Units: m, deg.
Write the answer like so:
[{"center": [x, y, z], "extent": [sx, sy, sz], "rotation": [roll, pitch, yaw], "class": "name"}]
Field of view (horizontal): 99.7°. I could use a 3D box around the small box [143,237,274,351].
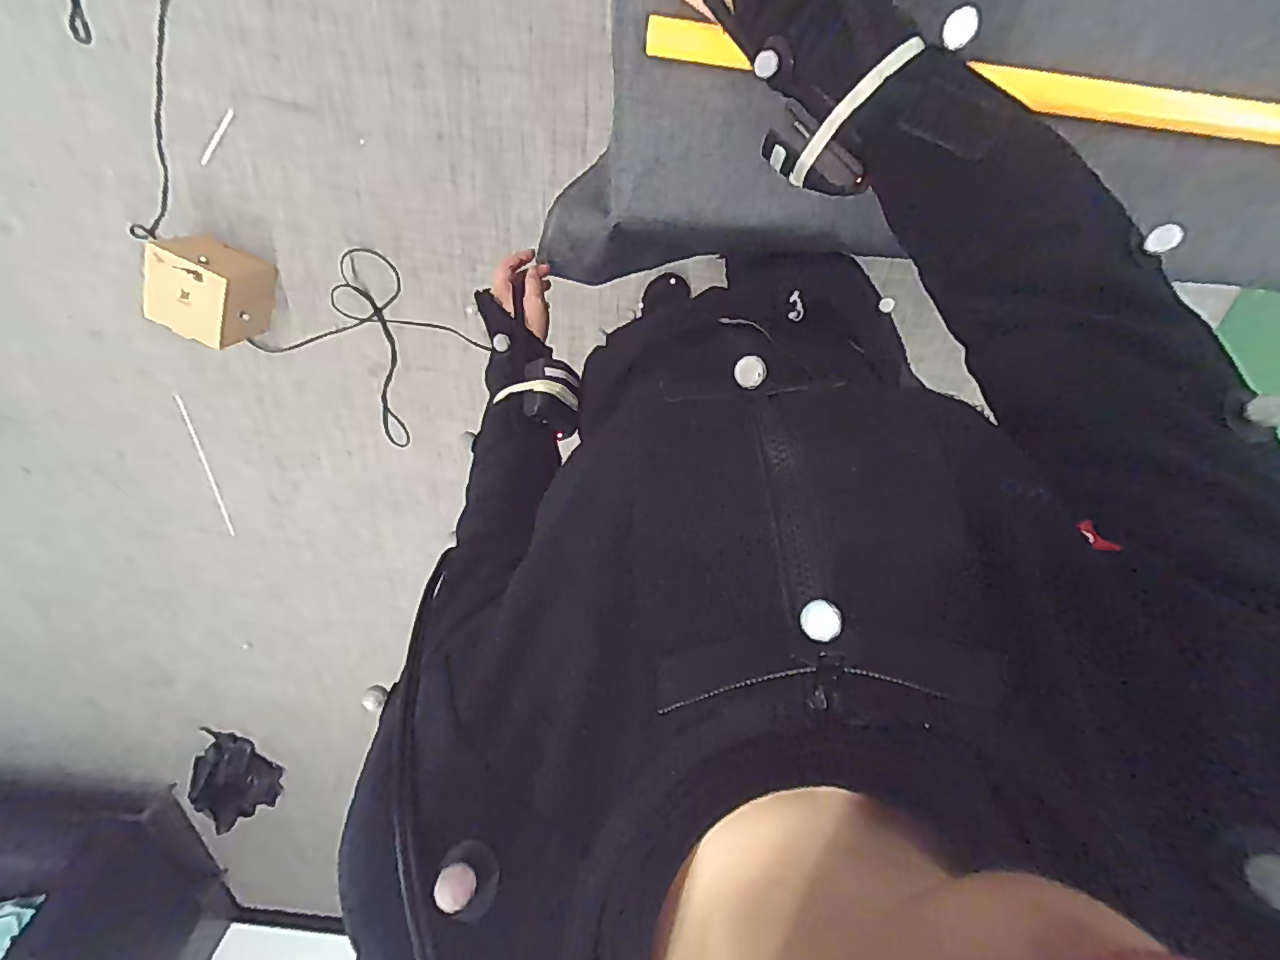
[{"center": [-0.972, -0.427, 1.228], "extent": [0.168, 0.176, 0.179], "rotation": [26, 118, -9], "class": "small box"}]
